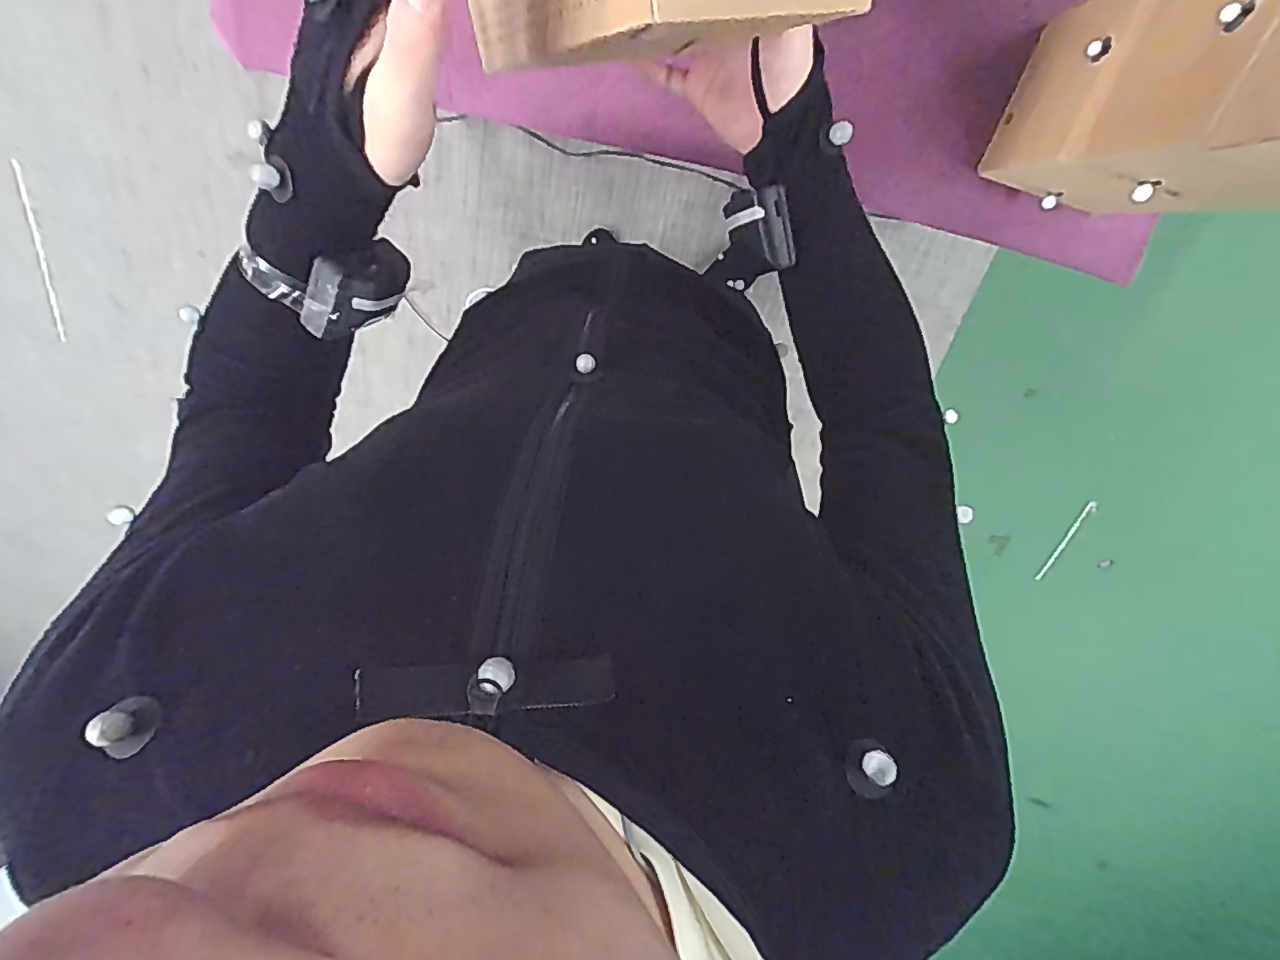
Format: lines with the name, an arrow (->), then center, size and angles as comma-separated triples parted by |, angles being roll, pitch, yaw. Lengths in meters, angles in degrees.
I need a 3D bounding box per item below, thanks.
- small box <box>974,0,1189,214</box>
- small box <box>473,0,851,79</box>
small box -> 0.532, -0.412, 0.607 | 0.179, 0.176, 0.168 | 16, 115, -4
small box -> 0.005, -0.334, 0.286 | 0.168, 0.179, 0.176 | -29, 129, -28
